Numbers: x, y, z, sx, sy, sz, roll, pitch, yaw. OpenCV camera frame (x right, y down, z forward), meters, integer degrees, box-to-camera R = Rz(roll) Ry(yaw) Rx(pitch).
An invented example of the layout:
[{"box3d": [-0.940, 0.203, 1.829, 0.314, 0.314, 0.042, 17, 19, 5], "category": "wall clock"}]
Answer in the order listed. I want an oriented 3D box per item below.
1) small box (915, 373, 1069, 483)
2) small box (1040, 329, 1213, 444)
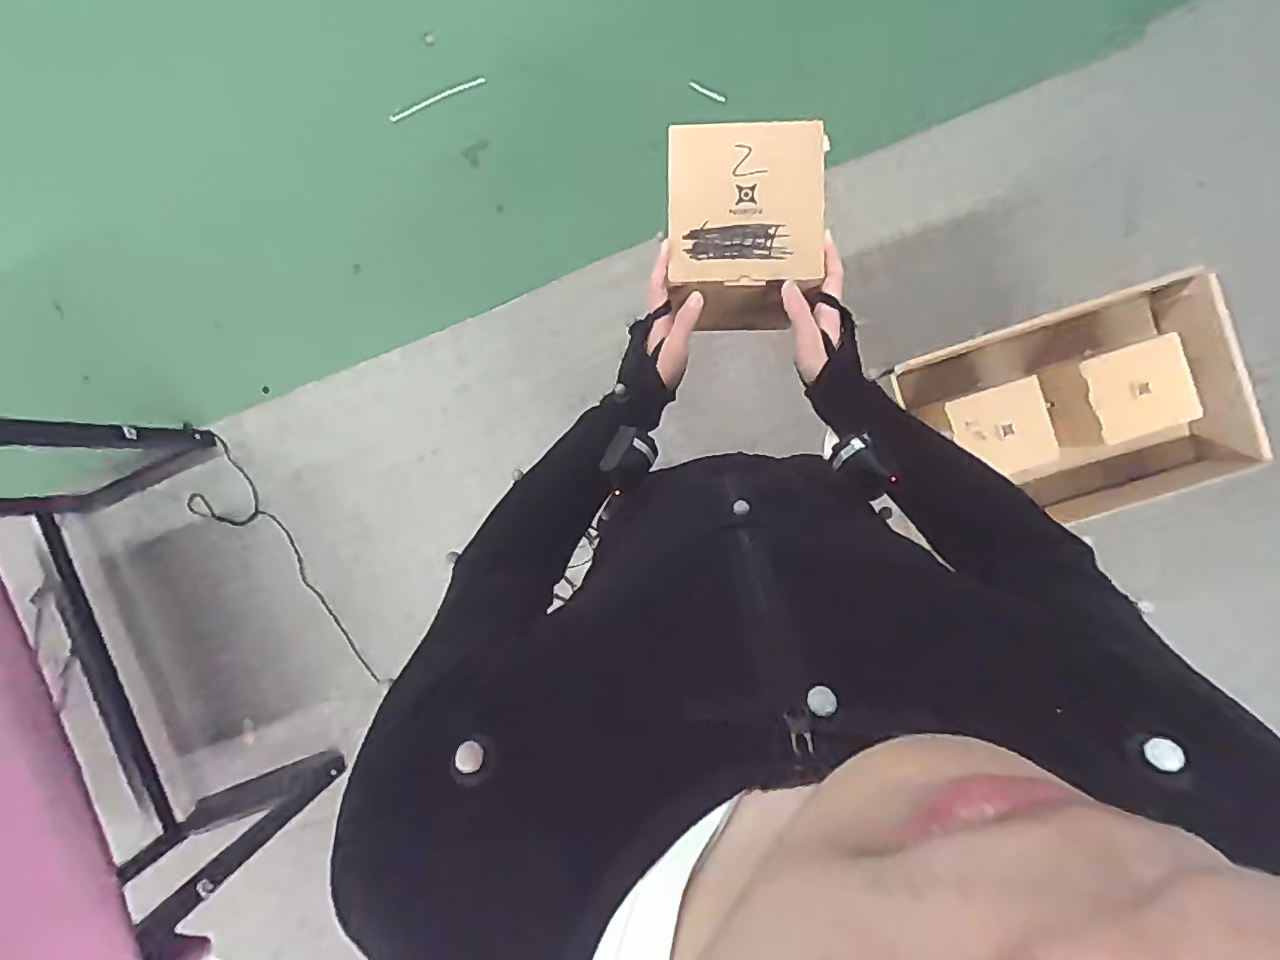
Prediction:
[{"box3d": [0.687, -0.099, 1.073, 0.179, 0.176, 0.168, -17, 90, 5], "category": "small box"}, {"box3d": [0.930, -0.174, 1.056, 0.179, 0.176, 0.168, -19, 91, 7], "category": "small box"}]
